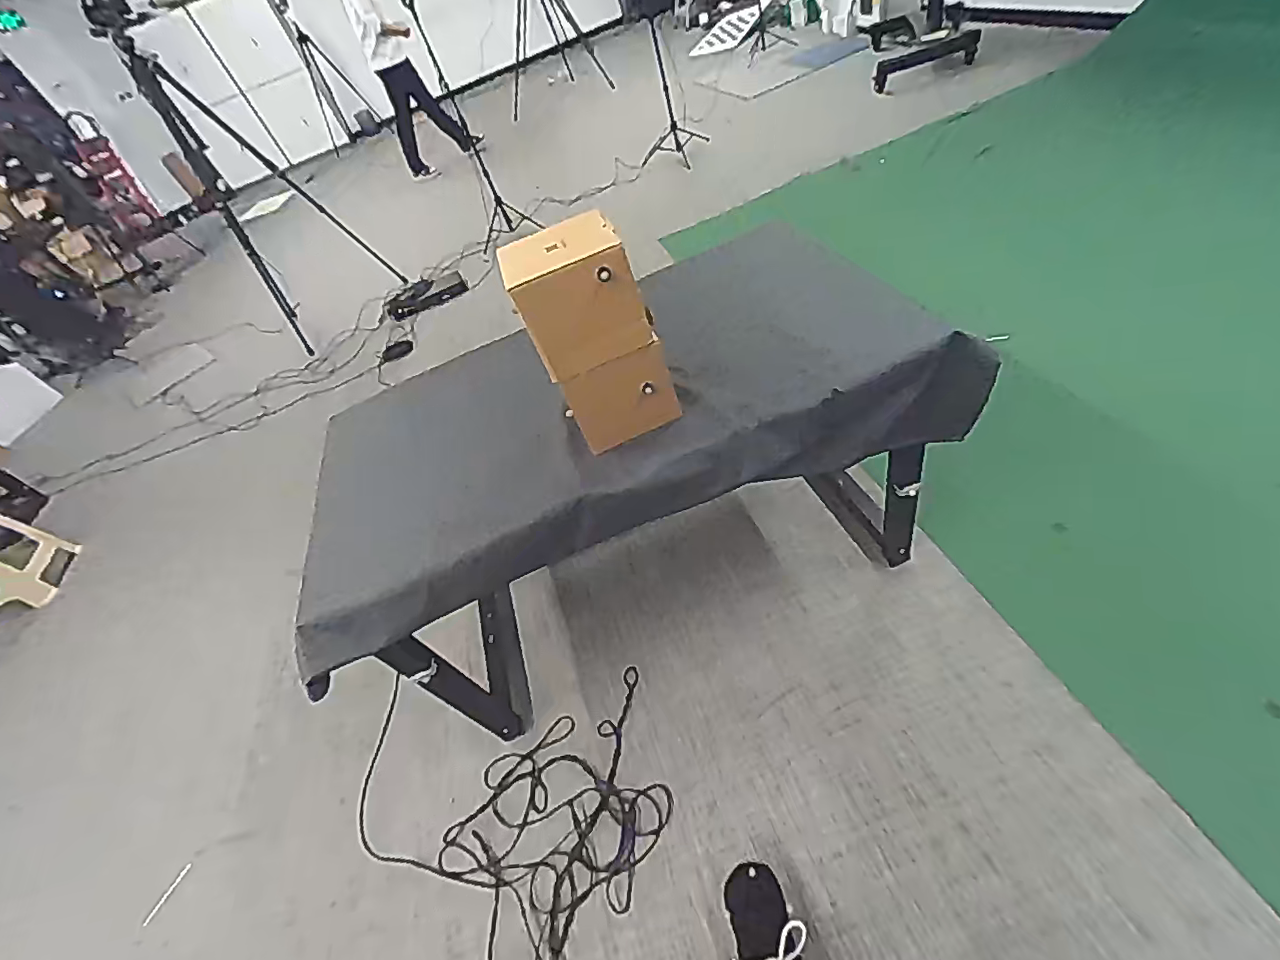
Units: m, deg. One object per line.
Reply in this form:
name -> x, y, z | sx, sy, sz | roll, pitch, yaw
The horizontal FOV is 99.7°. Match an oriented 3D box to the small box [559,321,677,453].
small box -> -0.046, -0.181, 0.964 | 0.179, 0.176, 0.168 | -25, 44, 0

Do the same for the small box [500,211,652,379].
small box -> -0.100, -0.287, 0.852 | 0.179, 0.176, 0.168 | -23, 44, 0
